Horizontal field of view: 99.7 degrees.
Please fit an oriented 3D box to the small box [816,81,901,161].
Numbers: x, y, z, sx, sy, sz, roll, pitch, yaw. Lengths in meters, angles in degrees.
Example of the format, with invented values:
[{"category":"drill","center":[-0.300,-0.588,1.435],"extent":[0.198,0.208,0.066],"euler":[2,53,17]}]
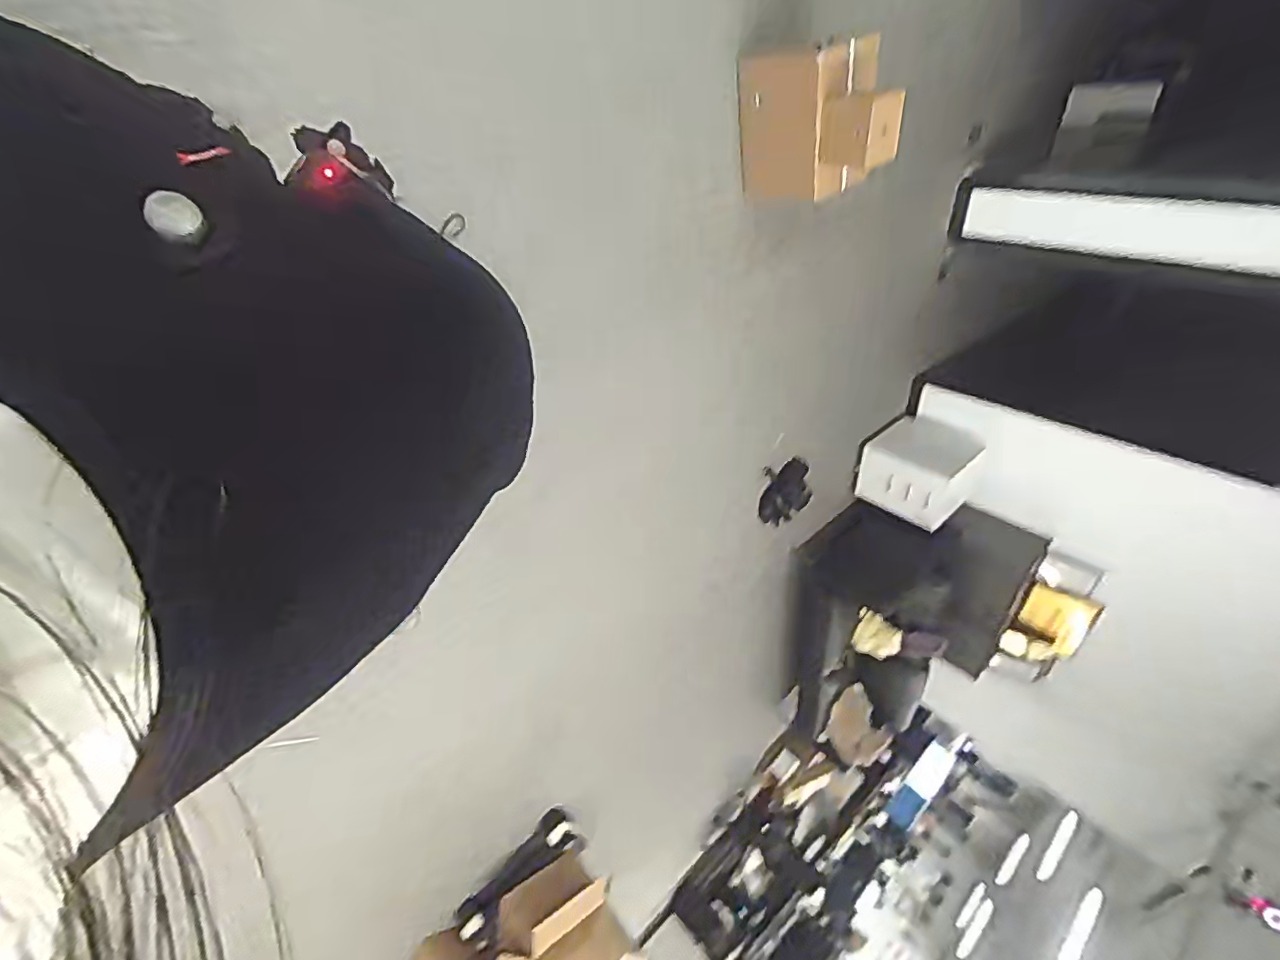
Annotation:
[{"category":"small box","center":[0.652,-1.082,1.631],"extent":[0.168,0.176,0.179],"euler":[-33,135,-24]}]
